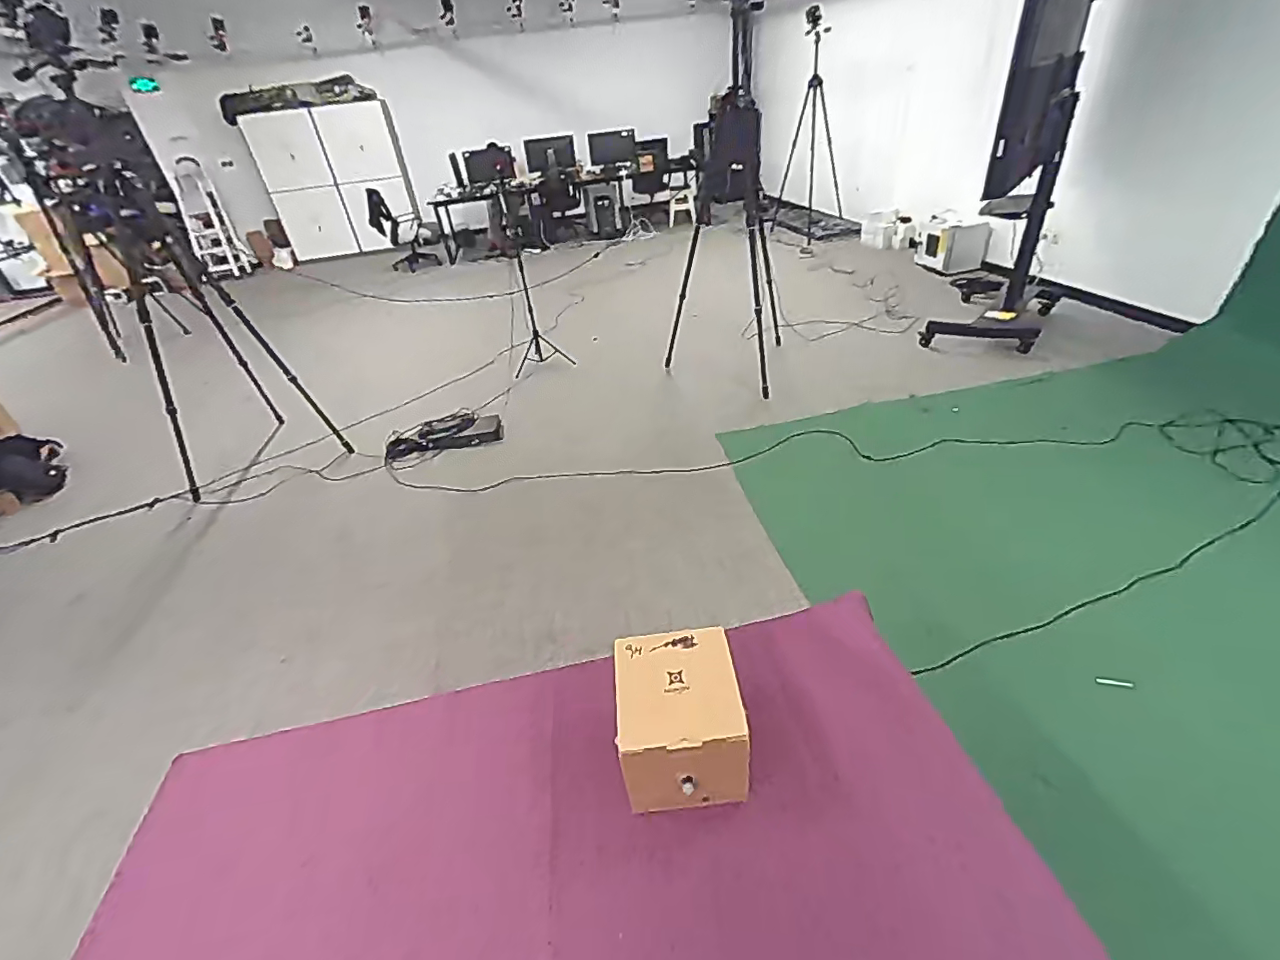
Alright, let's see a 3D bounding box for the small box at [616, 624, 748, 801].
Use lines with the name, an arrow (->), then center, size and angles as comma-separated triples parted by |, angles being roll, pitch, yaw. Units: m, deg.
small box -> 0.060, 0.339, 0.782 | 0.168, 0.176, 0.179 | -7, 36, 1
